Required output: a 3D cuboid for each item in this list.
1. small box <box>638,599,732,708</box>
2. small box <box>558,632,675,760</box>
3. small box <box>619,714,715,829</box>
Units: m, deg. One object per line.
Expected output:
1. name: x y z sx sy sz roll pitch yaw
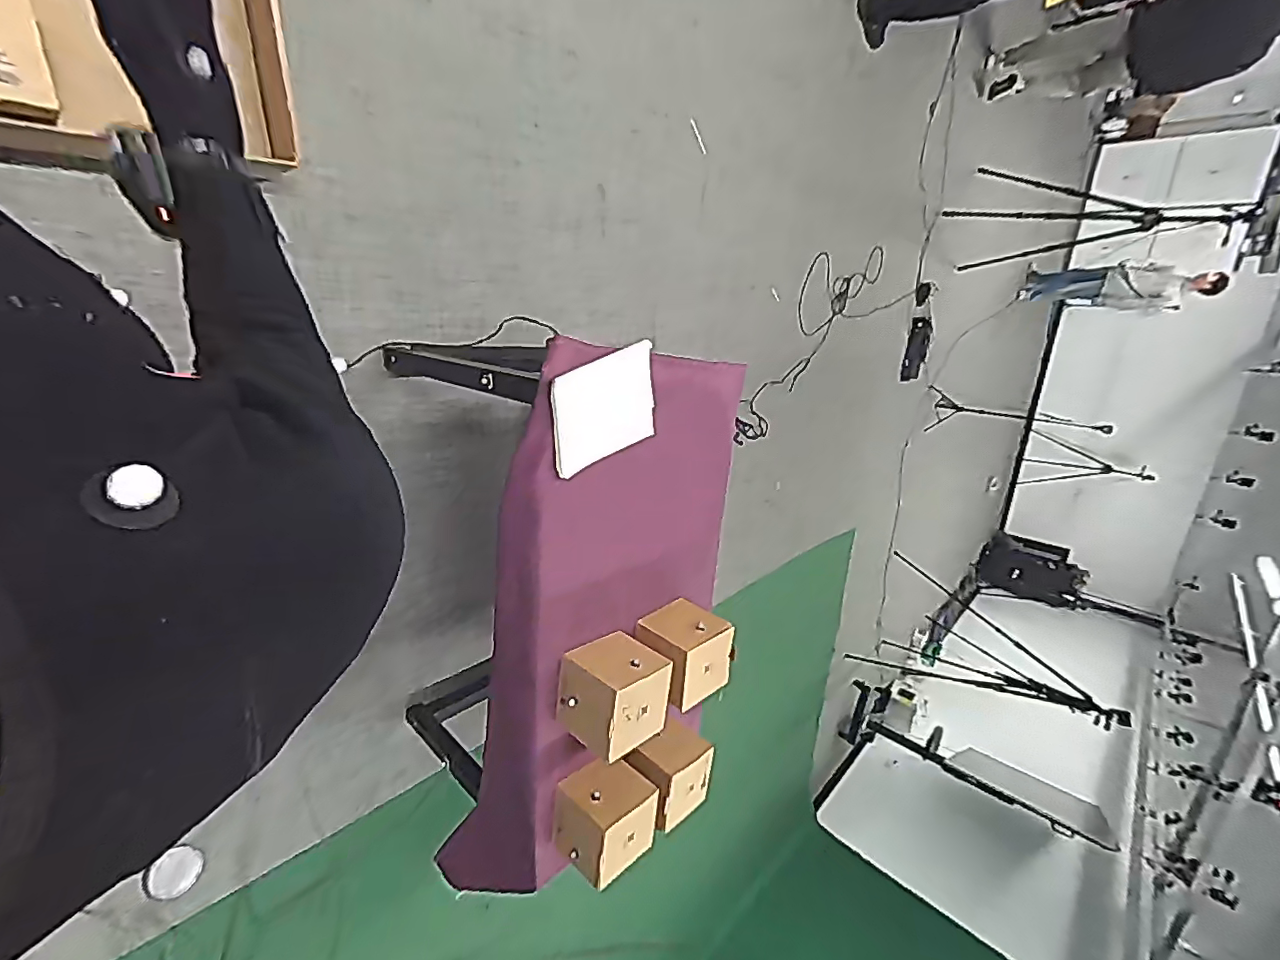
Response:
1. small box: 0.103 0.417 1.329 0.179 0.176 0.168 -14 114 -45
2. small box: -0.052 0.451 1.165 0.179 0.176 0.168 -7 109 -47
3. small box: 0.067 0.746 1.408 0.179 0.176 0.168 -4 107 -46
